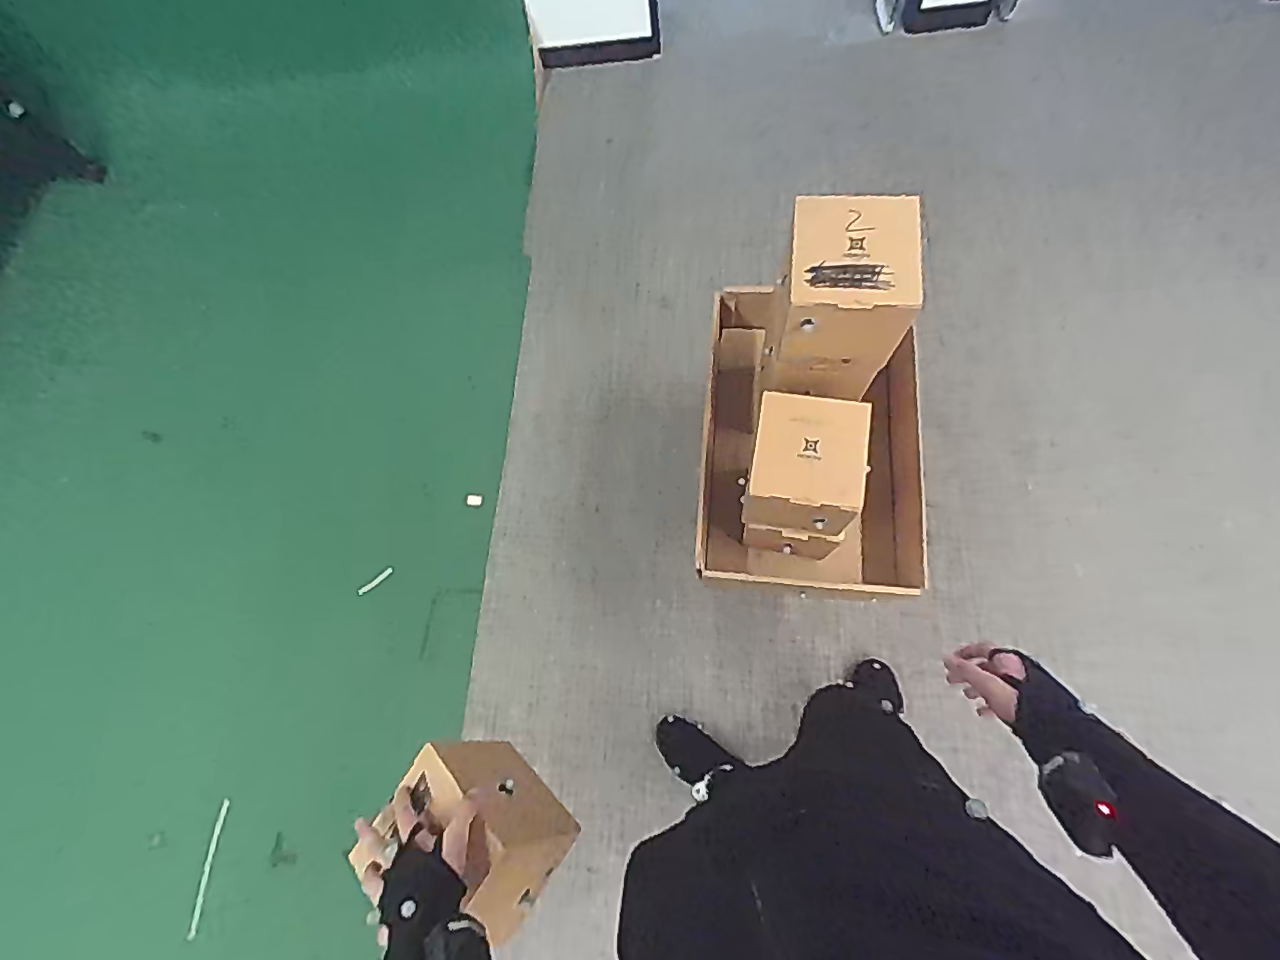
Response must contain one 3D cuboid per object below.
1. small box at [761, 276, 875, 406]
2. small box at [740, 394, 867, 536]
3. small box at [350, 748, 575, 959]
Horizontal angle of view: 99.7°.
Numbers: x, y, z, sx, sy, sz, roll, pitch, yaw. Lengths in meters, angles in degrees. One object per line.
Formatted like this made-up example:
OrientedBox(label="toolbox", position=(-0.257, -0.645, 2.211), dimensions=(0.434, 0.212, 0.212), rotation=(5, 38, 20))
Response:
OrientedBox(label="small box", position=(0.308, -0.237, 0.964), dimensions=(0.168, 0.176, 0.179), rotation=(3, 75, 7))
OrientedBox(label="small box", position=(0.261, -0.017, 0.894), dimensions=(0.168, 0.176, 0.179), rotation=(10, 72, 9))
OrientedBox(label="small box", position=(-0.219, 0.474, 0.692), dimensions=(0.179, 0.176, 0.168), rotation=(28, 82, 35))
